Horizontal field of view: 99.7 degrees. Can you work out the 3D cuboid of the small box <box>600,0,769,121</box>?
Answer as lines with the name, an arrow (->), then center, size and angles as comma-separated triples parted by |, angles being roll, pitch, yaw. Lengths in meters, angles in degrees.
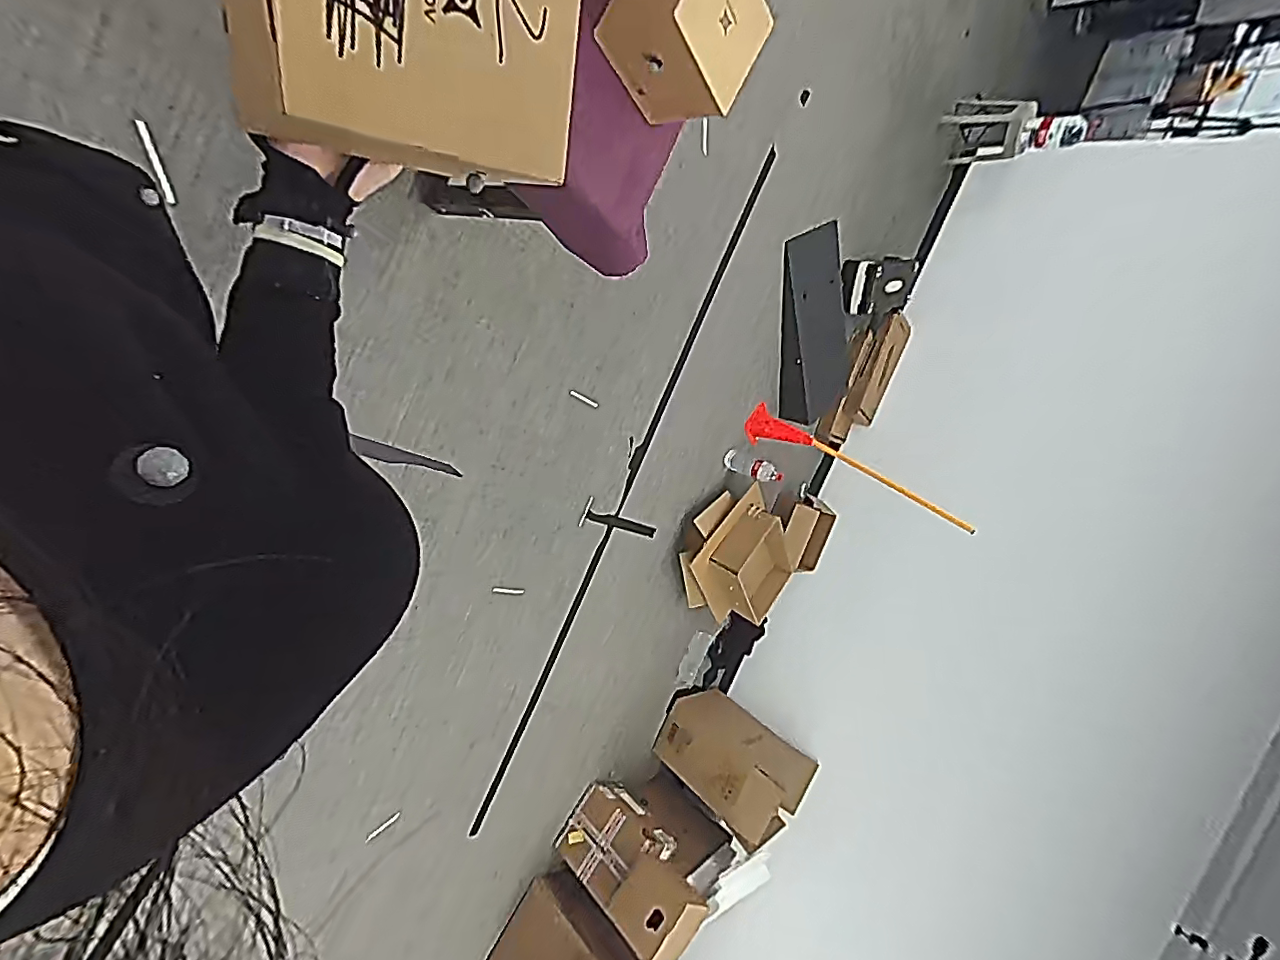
small box -> 0.063, -0.691, 0.831 | 0.168, 0.176, 0.179 | 30, 86, -51
